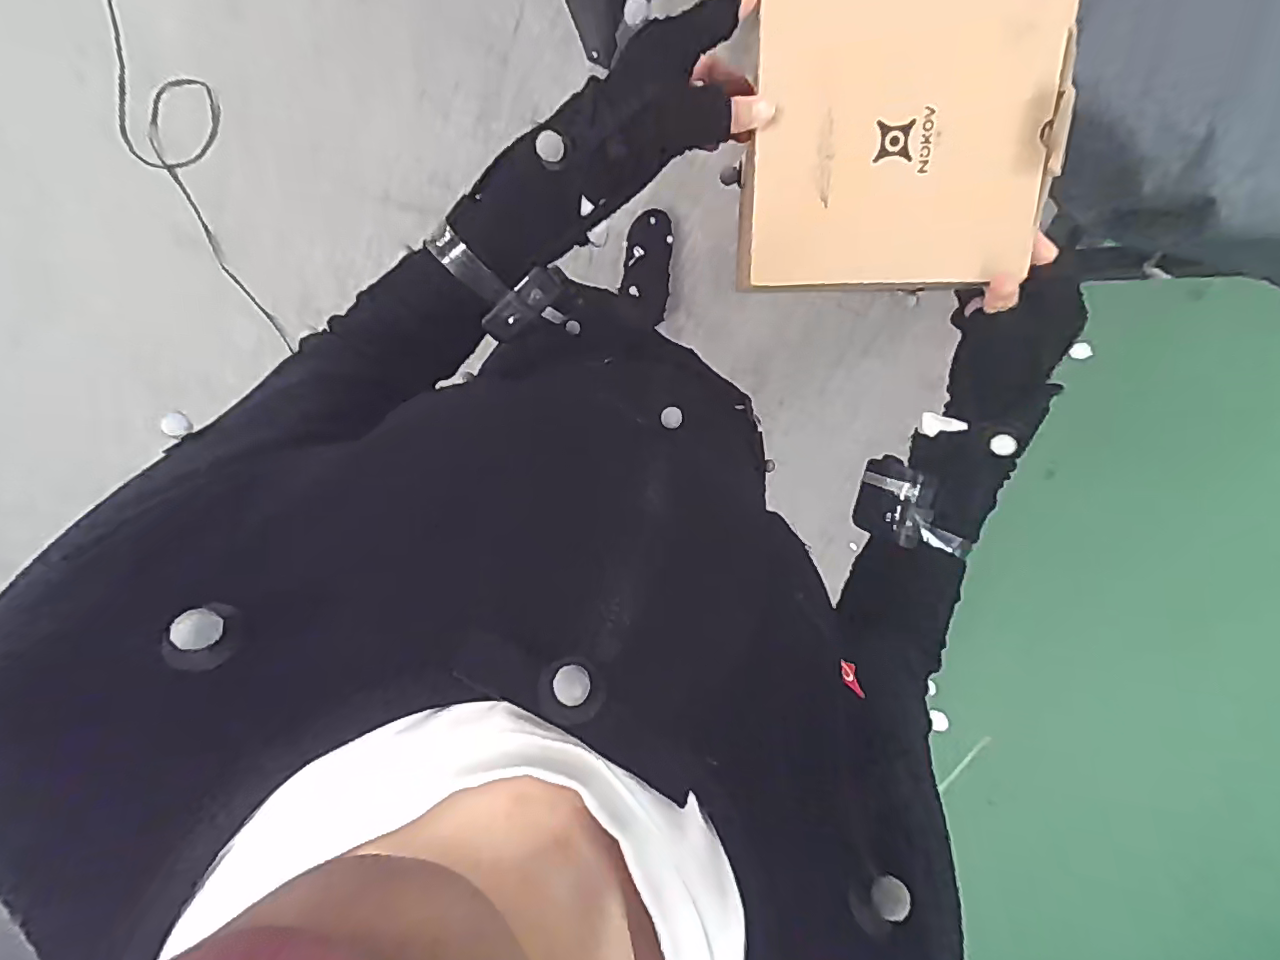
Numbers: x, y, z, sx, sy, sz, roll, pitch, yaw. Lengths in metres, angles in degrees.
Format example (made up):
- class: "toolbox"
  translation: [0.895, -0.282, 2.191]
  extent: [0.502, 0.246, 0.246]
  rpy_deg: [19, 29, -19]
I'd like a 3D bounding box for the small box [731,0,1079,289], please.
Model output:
- class: "small box"
  translation: [0.163, -0.233, 0.398]
  extent: [0.179, 0.176, 0.168]
  rpy_deg: [1, 106, 6]
